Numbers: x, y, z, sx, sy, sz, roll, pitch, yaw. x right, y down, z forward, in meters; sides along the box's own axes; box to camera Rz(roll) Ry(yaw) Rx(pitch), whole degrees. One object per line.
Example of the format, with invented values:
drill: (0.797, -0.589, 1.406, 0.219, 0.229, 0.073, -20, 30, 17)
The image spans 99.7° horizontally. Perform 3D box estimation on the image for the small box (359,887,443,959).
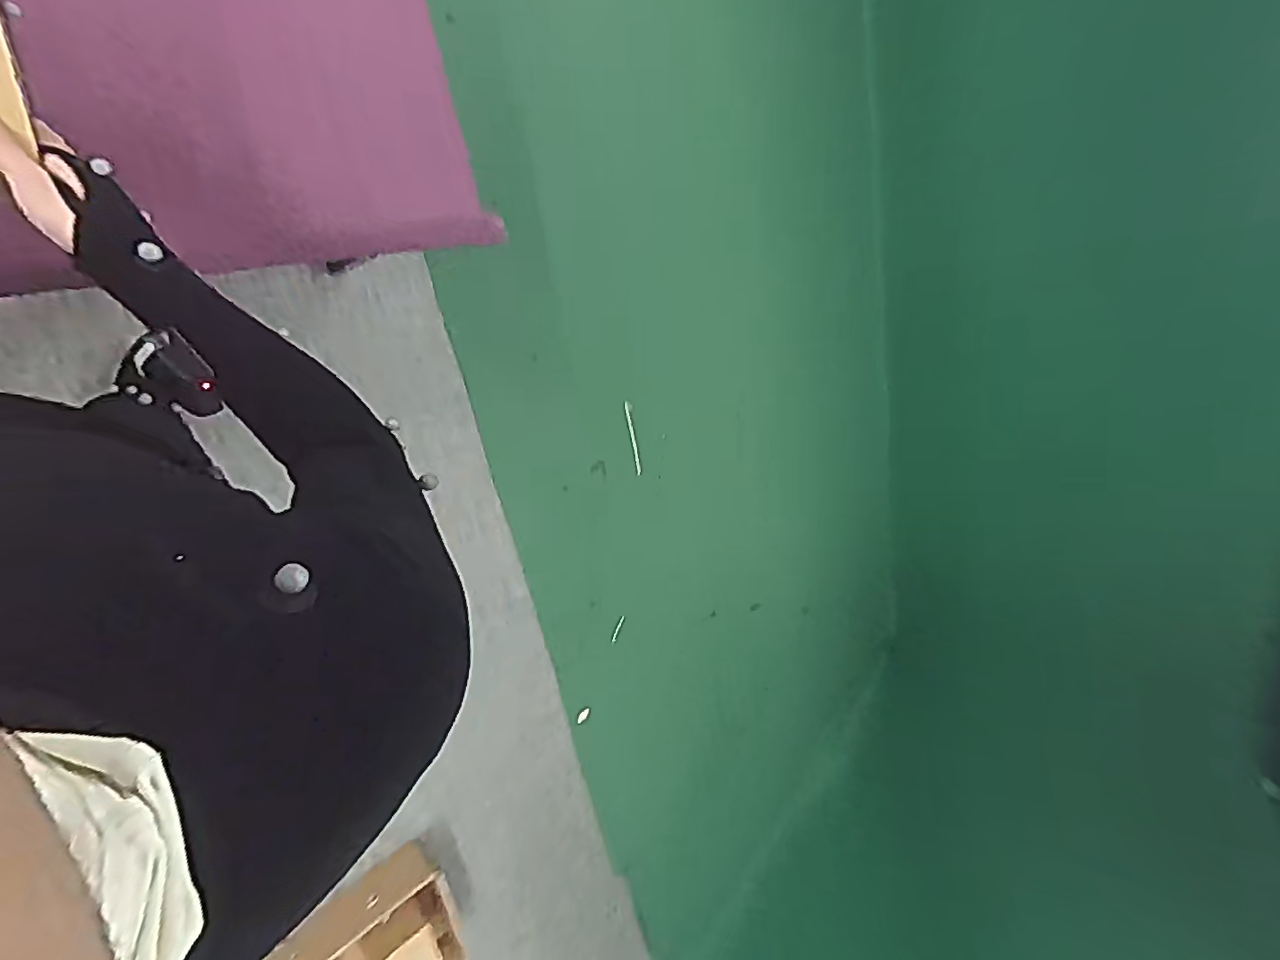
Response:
small box: (-0.733, 1.413, 1.656, 0.168, 0.176, 0.179, -23, 113, -39)
